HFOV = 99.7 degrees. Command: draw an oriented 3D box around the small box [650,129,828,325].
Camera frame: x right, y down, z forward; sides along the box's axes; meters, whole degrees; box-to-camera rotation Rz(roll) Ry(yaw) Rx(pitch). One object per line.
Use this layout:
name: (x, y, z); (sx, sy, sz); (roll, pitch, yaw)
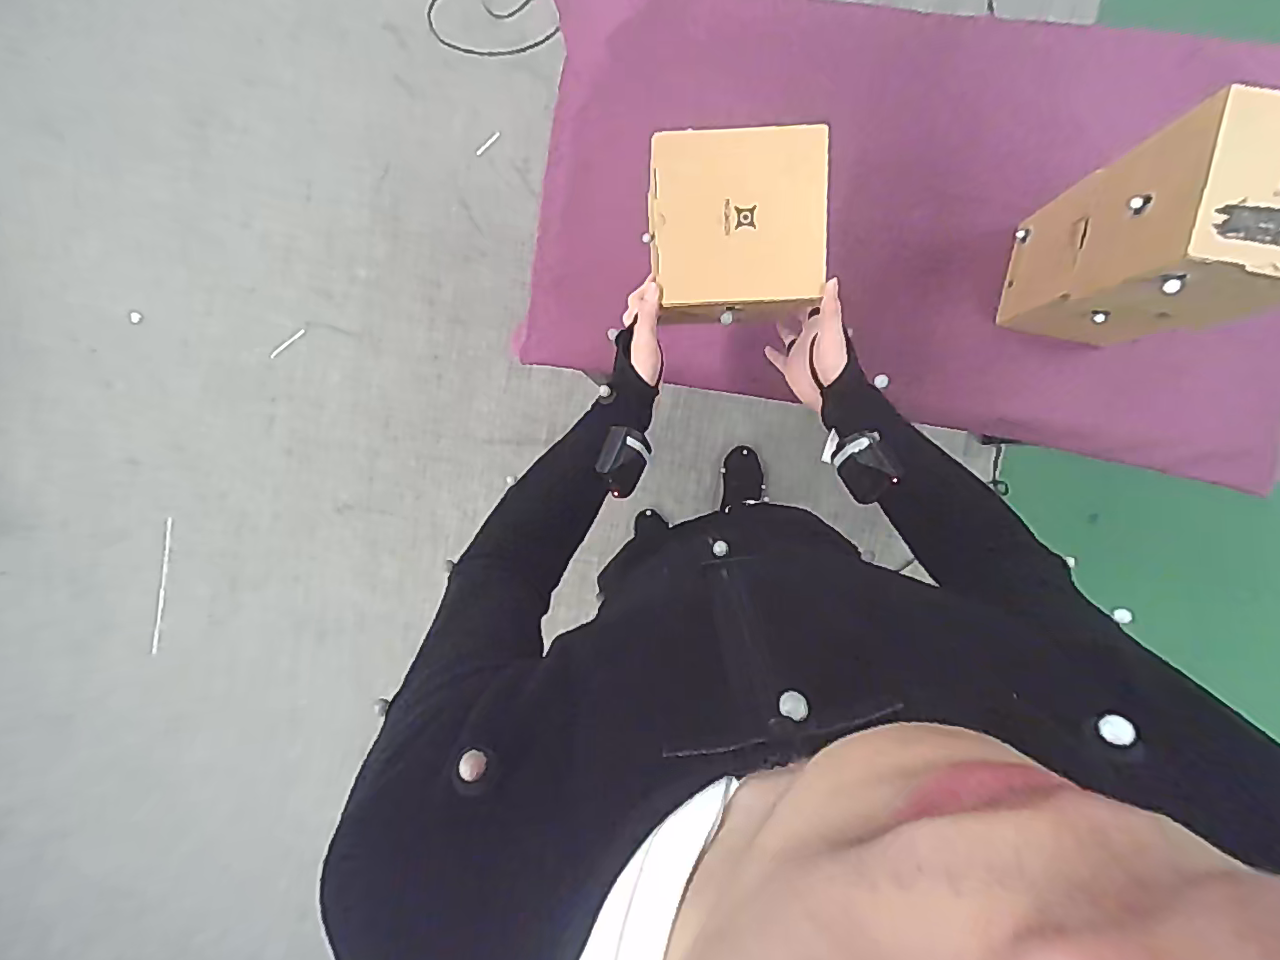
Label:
small box: (0.102, -0.275, 0.623); (0.179, 0.176, 0.168); (-3, 99, 2)

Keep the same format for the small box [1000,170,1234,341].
small box: (0.666, -0.310, 0.781); (0.179, 0.176, 0.168); (12, 93, 3)
